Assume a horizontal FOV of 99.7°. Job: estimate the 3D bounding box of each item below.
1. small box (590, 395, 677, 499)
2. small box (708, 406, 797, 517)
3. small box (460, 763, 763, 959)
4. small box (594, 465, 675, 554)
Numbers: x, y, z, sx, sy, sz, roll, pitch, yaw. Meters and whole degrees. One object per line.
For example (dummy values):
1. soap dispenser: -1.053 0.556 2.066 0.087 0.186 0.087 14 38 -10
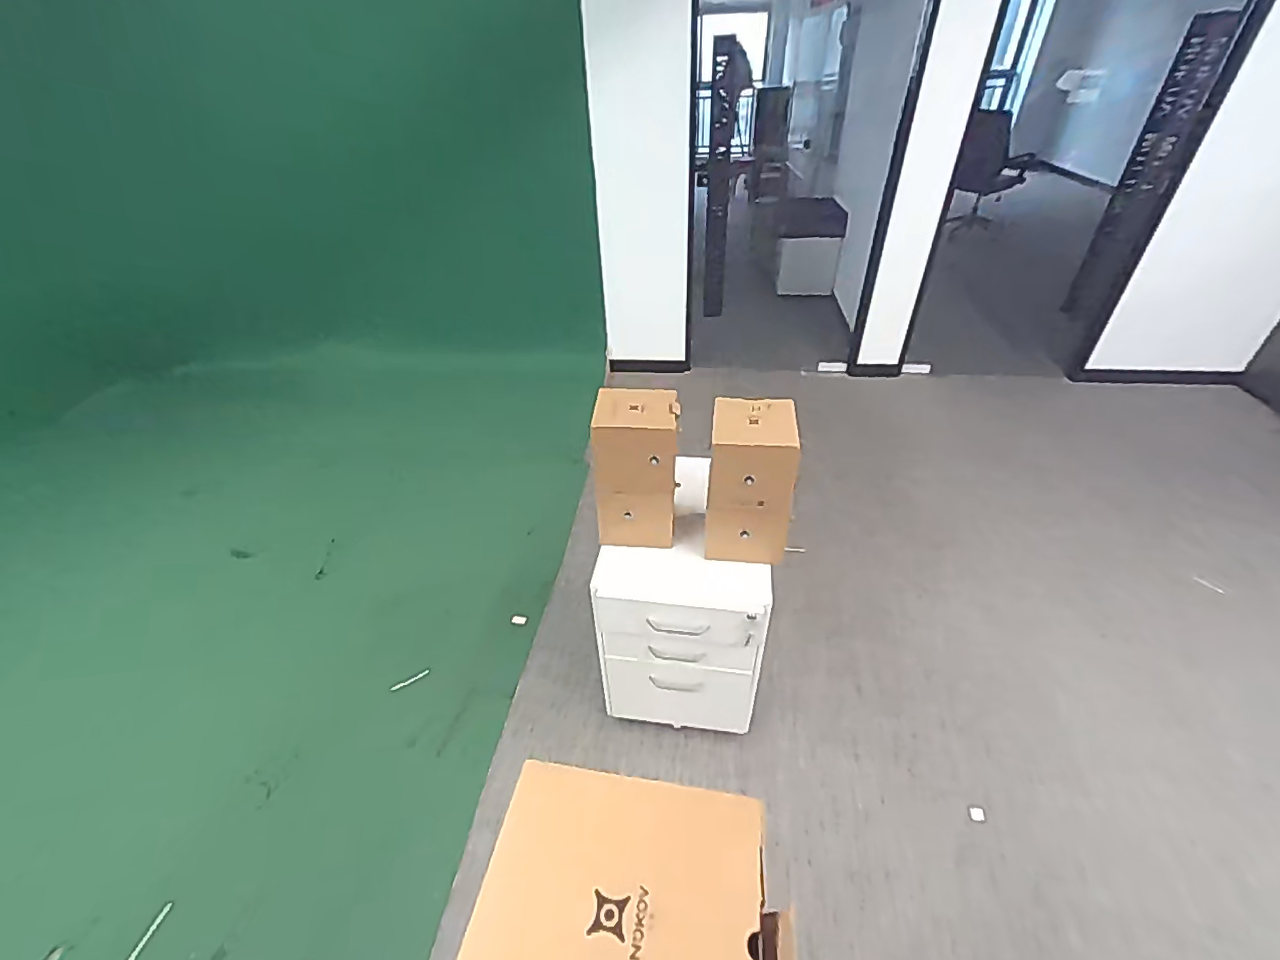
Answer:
1. small box: -0.010 -0.071 1.190 0.179 0.176 0.168 1 37 3
2. small box: 0.231 -0.039 1.135 0.168 0.176 0.179 3 38 8
3. small box: -0.013 0.331 0.373 0.179 0.176 0.168 6 35 8
4. small box: -0.008 0.060 1.289 0.179 0.176 0.168 3 38 3
